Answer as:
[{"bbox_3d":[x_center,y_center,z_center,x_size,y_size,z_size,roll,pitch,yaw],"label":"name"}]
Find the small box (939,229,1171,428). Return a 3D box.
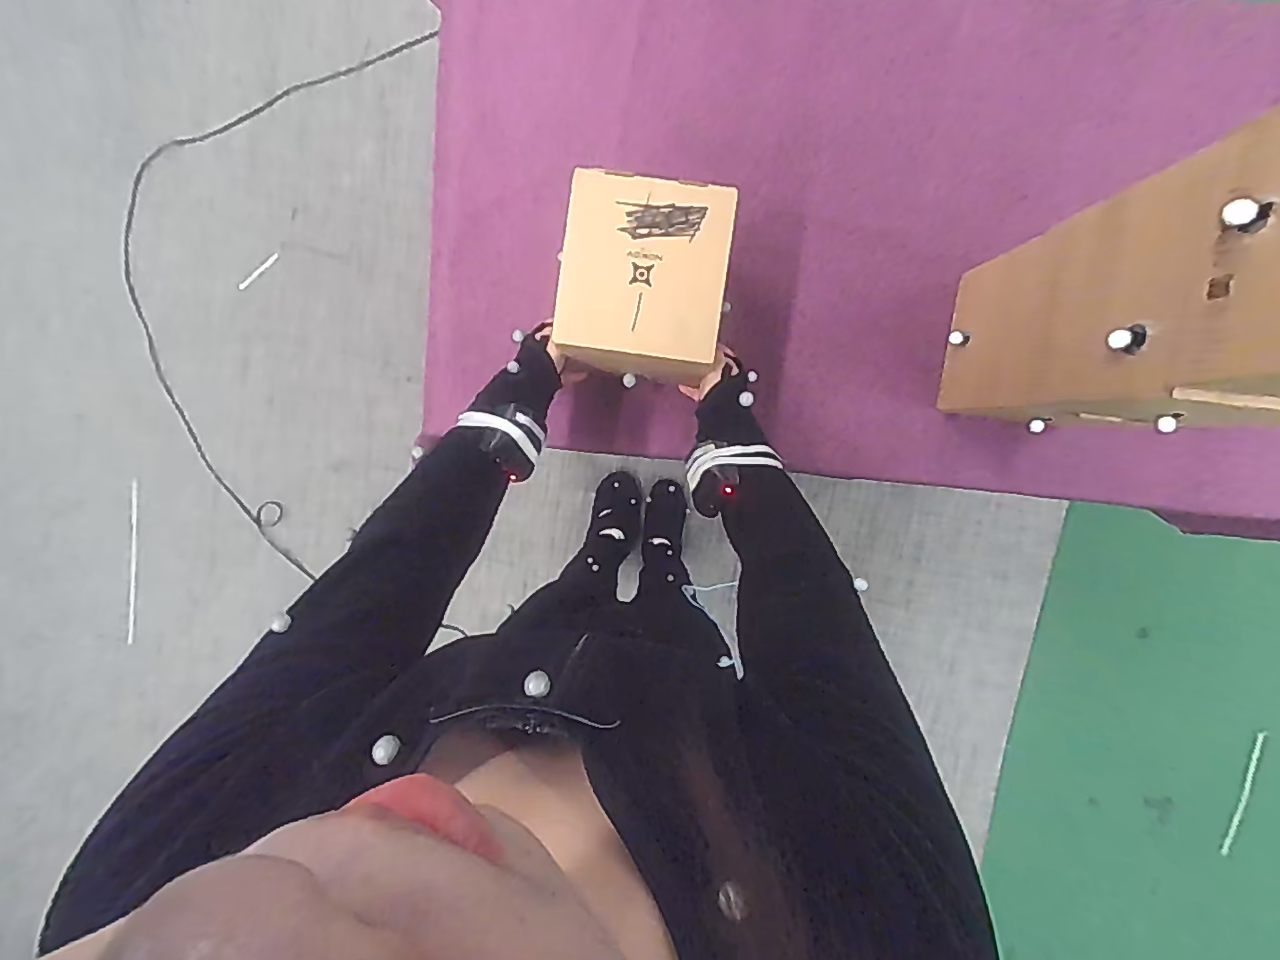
[{"bbox_3d":[0.471,-0.159,0.614,0.168,0.176,0.179,7,98,1],"label":"small box"}]

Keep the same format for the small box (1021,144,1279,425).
[{"bbox_3d":[0.462,-0.140,0.450,0.168,0.176,0.179,7,97,1],"label":"small box"}]

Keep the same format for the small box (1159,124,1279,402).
[{"bbox_3d":[0.453,-0.127,0.287,0.179,0.176,0.168,7,96,2],"label":"small box"}]

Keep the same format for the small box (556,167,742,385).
[{"bbox_3d":[0.009,-0.215,0.615,0.168,0.176,0.179,8,93,1],"label":"small box"}]
